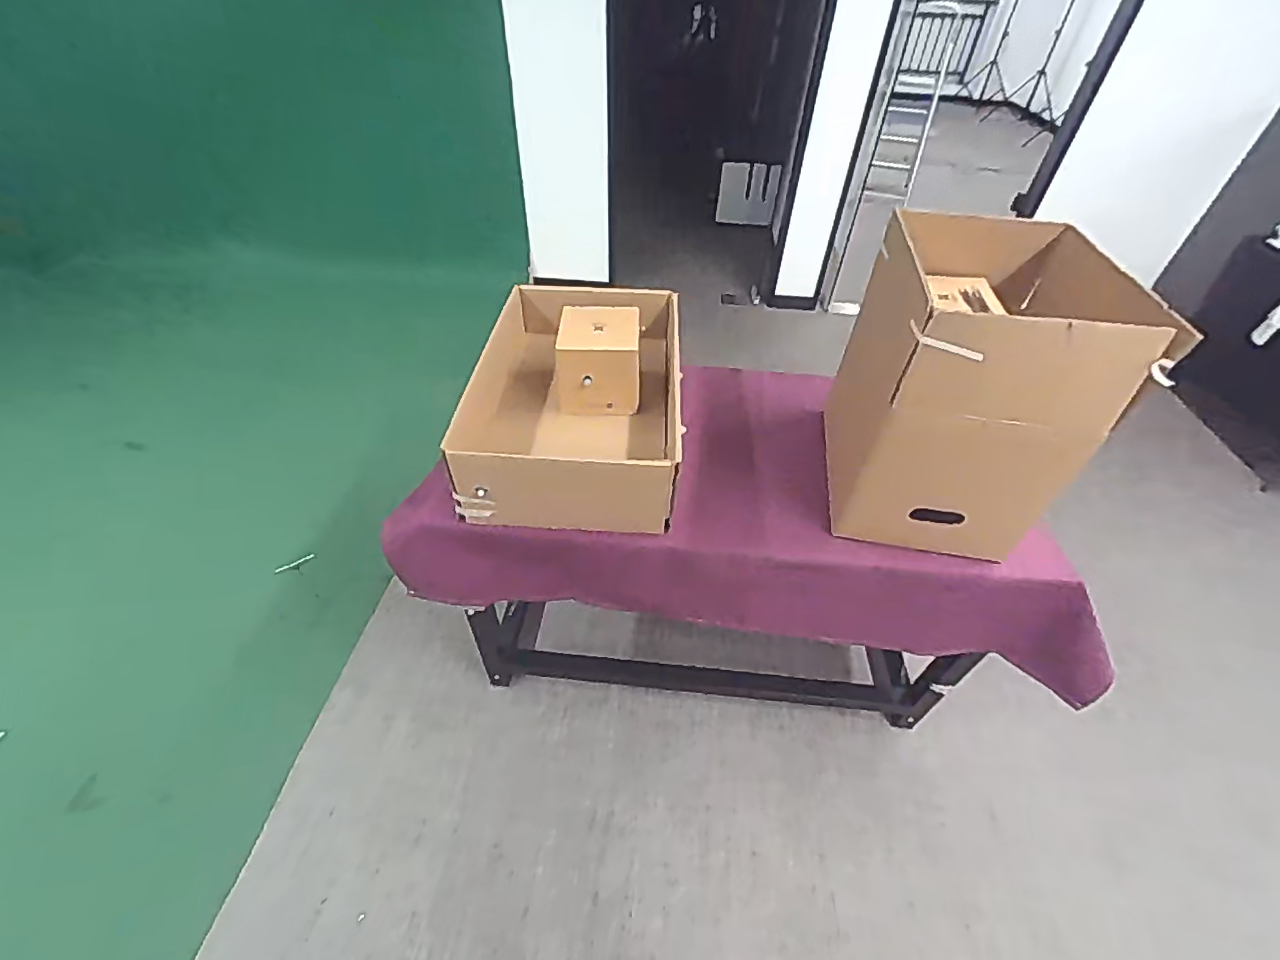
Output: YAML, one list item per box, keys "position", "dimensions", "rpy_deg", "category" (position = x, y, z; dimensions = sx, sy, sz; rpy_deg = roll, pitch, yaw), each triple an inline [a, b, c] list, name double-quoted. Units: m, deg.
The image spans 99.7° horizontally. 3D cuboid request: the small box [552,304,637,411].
- position: [-0.090, -0.263, 1.175]
  dimensions: [0.168, 0.176, 0.179]
  rpy_deg: [0, 45, 0]
  category: "small box"
